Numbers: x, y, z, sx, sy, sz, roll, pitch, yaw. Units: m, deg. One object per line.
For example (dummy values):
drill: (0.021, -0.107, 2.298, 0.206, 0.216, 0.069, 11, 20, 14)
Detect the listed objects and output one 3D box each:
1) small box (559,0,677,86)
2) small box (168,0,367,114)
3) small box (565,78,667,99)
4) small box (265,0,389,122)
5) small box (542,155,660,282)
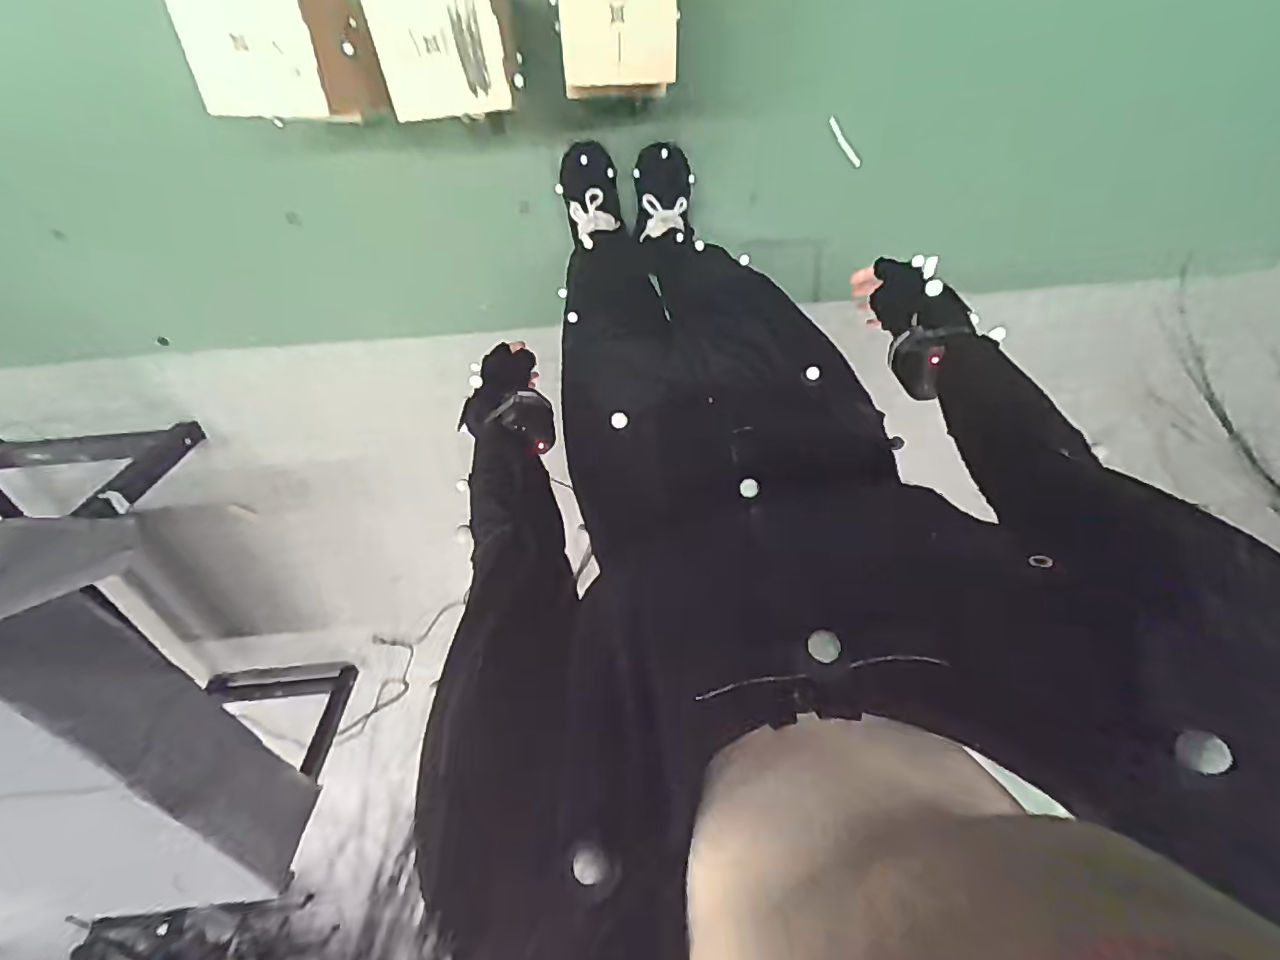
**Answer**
small box: (-0.037, -0.701, 0.810, 0.168, 0.176, 0.179, -3, 126, -3)
small box: (-0.543, -0.650, 0.807, 0.179, 0.176, 0.168, -1, 126, -3)
small box: (-0.045, -0.778, 0.956, 0.179, 0.176, 0.168, -2, 126, -3)
small box: (-0.561, -0.739, 0.945, 0.168, 0.176, 0.179, 0, 126, -4)
small box: (-0.088, -0.550, 1.137, 0.179, 0.176, 0.168, 33, 131, -3)
